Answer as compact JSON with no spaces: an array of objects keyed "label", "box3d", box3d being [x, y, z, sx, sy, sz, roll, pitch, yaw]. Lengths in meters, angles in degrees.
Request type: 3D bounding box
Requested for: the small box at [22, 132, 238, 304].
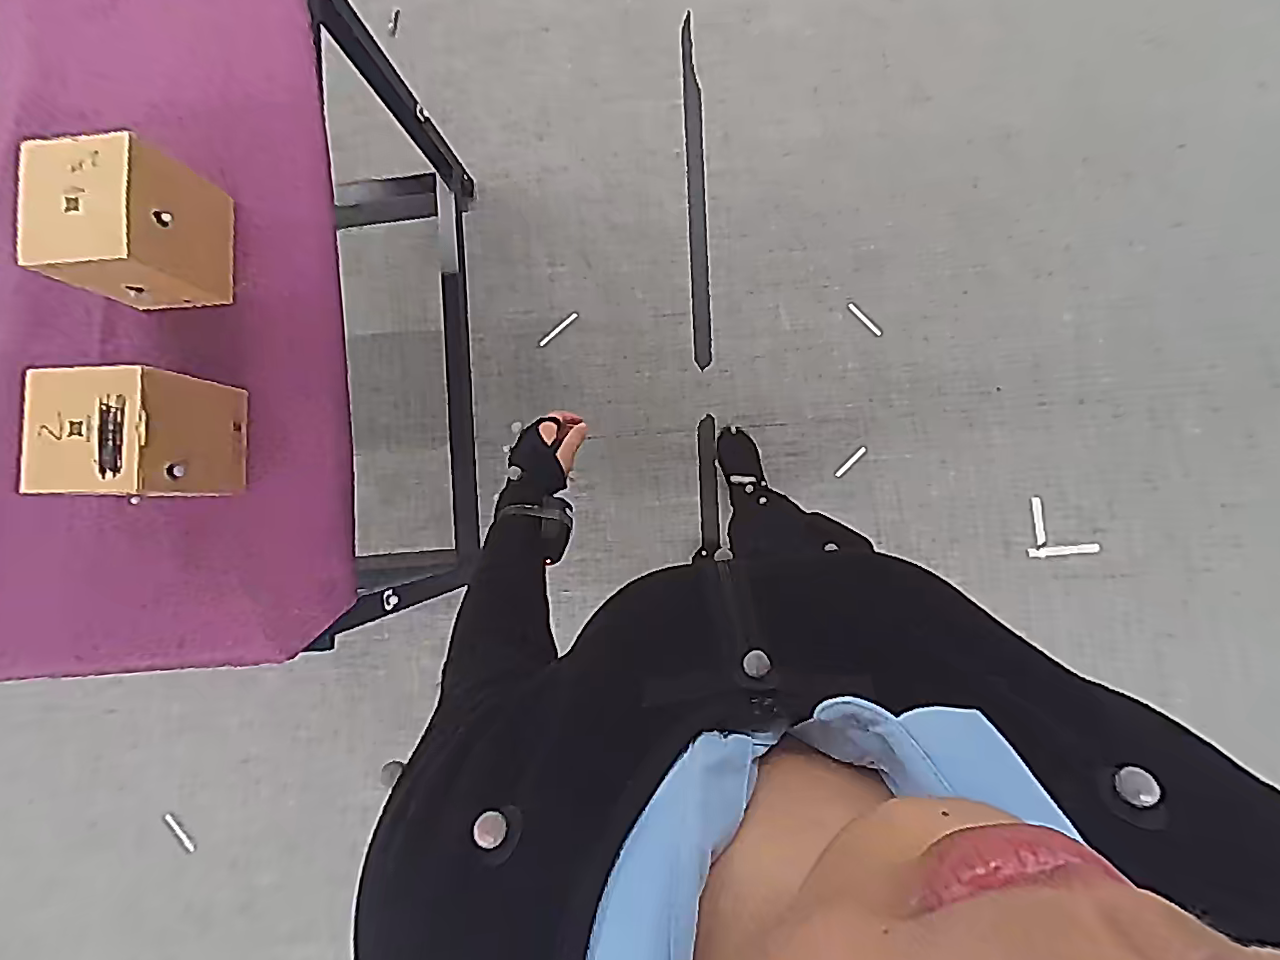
[{"label":"small box","box3d":[-0.736,-0.370,0.798,0.168,0.176,0.179,-1,87,5]}]
